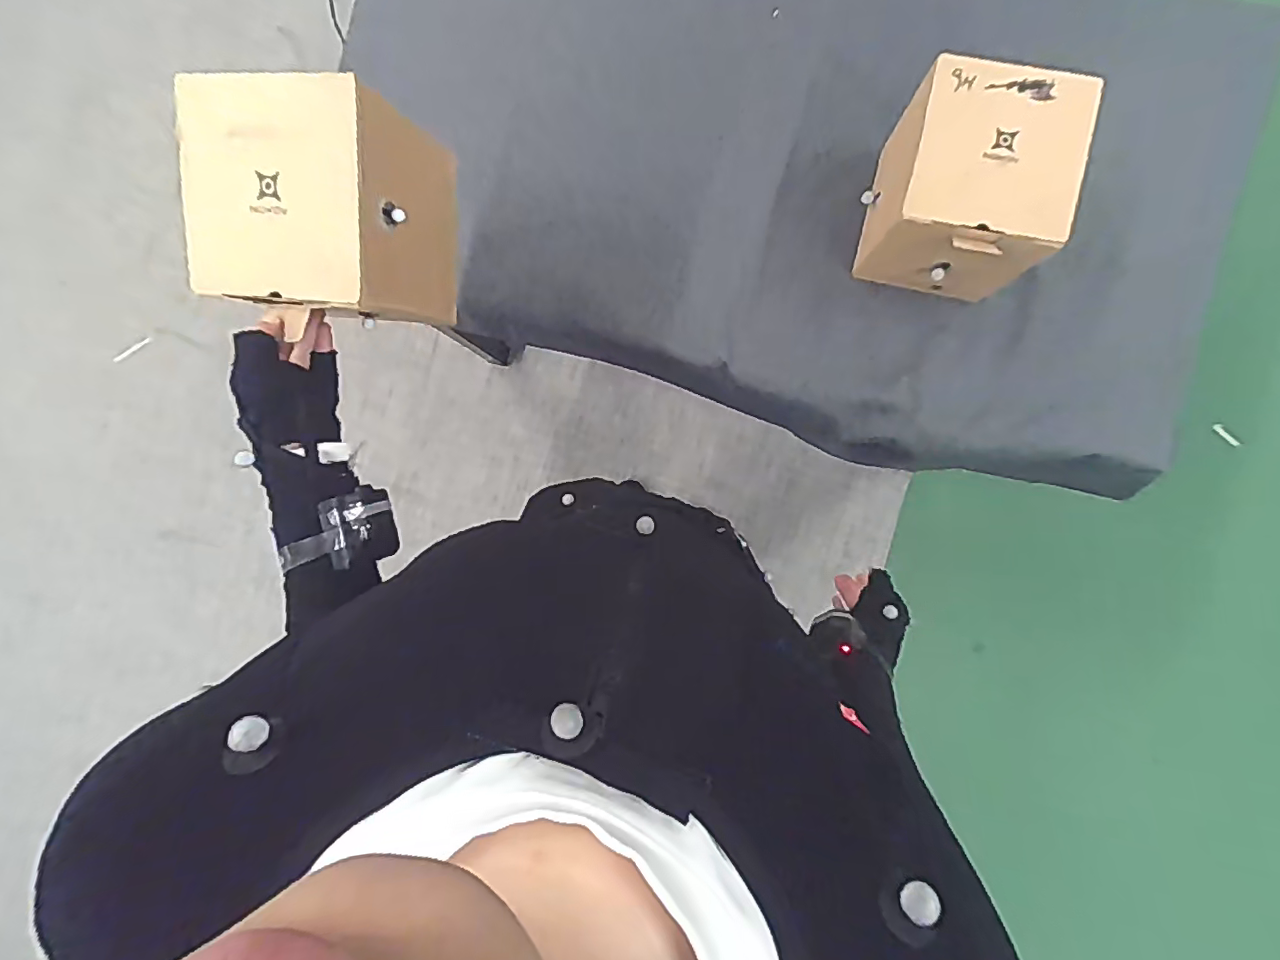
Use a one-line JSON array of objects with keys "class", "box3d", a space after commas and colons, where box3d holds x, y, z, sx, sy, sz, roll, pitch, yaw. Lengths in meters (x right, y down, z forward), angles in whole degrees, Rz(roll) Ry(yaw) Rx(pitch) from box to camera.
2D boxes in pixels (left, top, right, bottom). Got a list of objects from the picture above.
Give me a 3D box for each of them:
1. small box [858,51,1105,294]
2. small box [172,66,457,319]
[{"class": "small box", "box3d": [0.373, -0.337, 0.629, 0.168, 0.176, 0.179, 14, 92, 4]}, {"class": "small box", "box3d": [-0.290, -0.254, 0.518, 0.168, 0.176, 0.179, 6, 101, 8]}]
